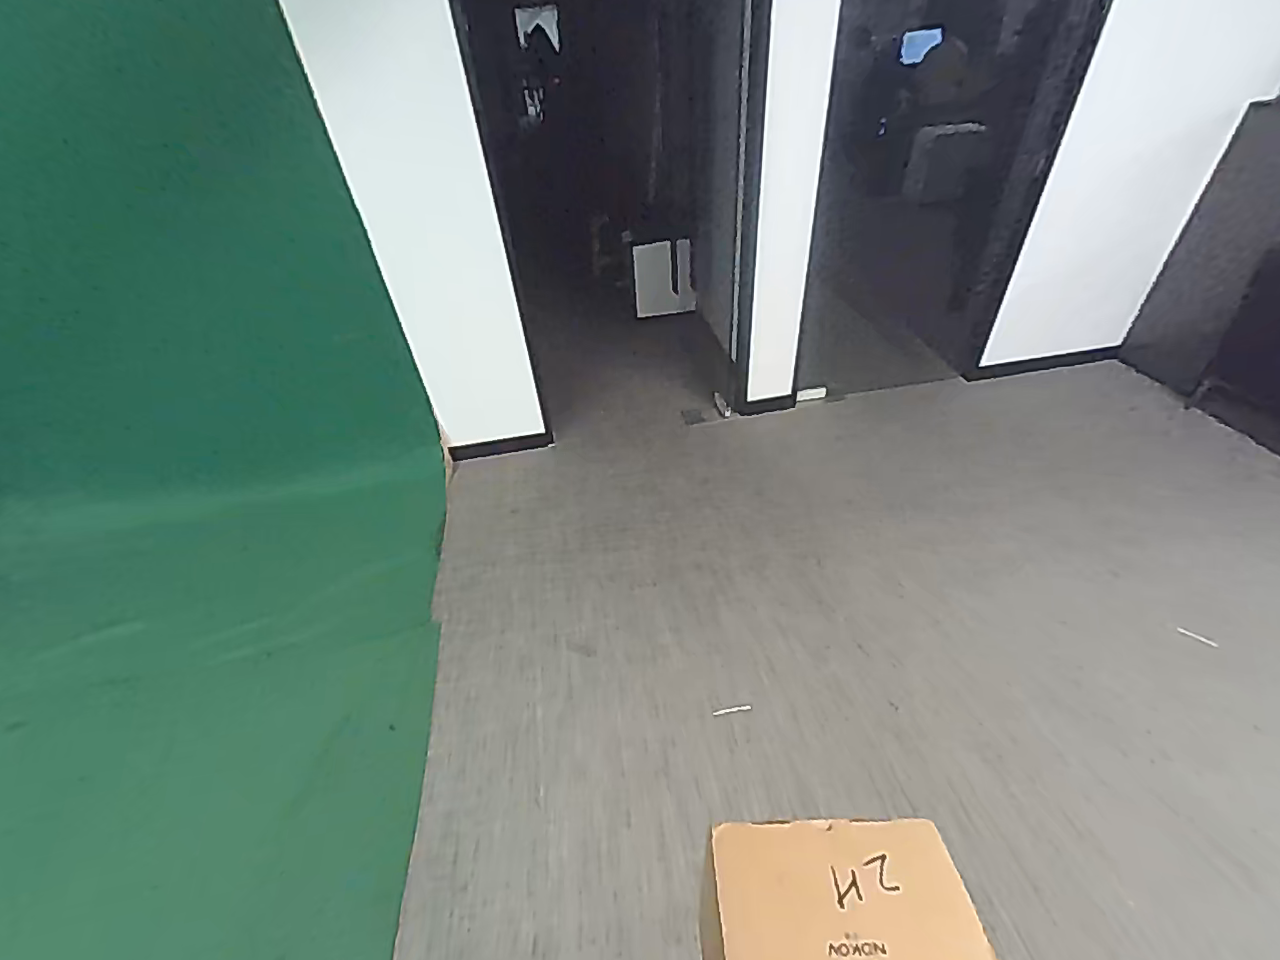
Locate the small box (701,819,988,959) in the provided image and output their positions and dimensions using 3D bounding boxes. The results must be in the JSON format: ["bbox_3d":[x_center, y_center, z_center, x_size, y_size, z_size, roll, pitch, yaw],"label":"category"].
[{"bbox_3d":[0.133,0.366,0.369,0.168,0.176,0.179,-1,31,0],"label":"small box"}]
